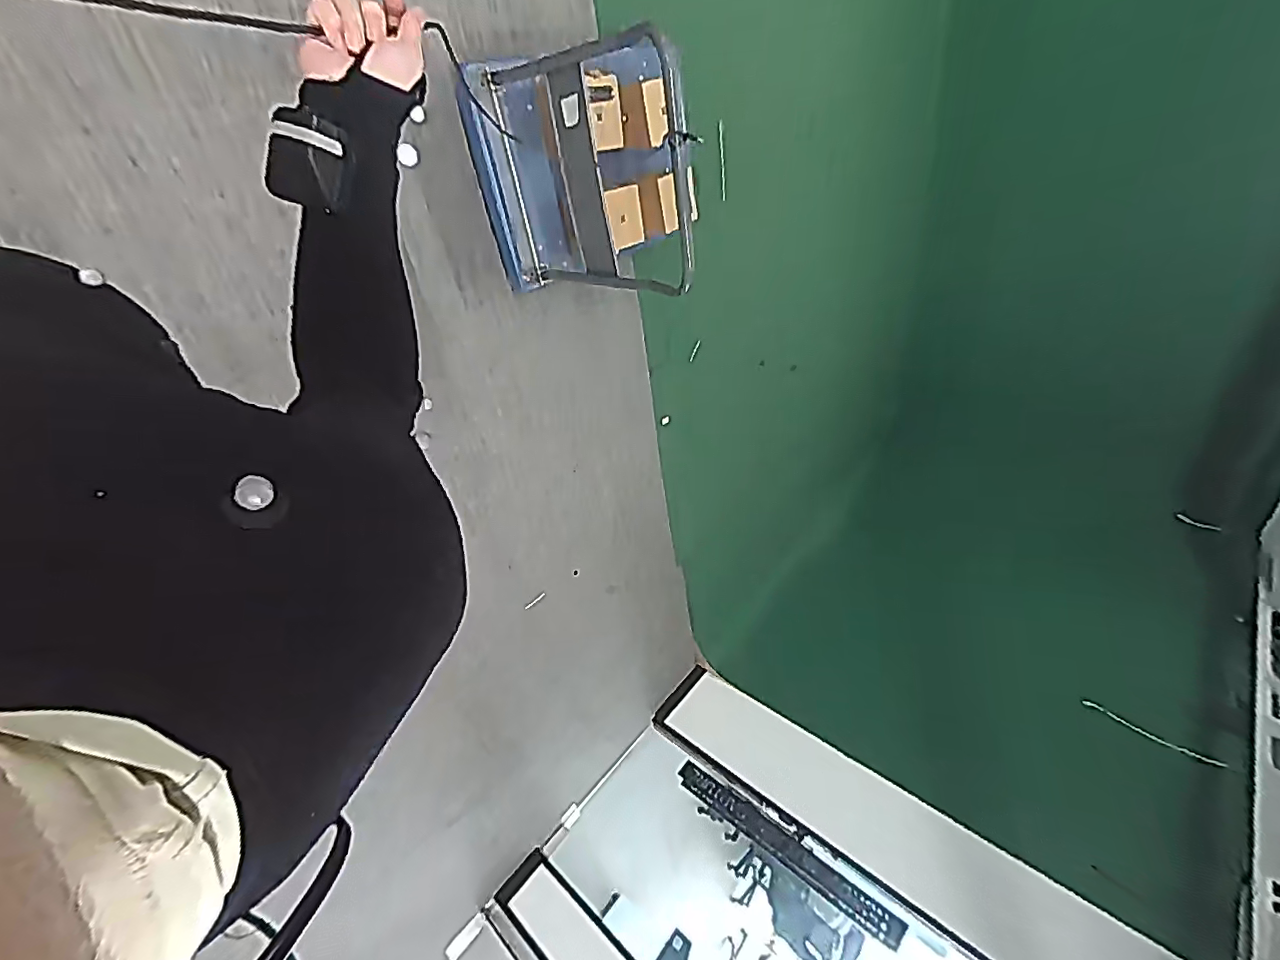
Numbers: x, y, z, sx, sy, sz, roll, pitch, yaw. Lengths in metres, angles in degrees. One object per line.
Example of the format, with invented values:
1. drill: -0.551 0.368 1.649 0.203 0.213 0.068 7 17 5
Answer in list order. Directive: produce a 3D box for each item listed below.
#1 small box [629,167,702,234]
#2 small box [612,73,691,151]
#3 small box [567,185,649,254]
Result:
1. small box: 0.084 -0.947 1.832 0.179 0.176 0.168 -39 131 -30
2. small box: 0.031 -1.144 1.686 0.179 0.176 0.168 -40 133 -31
3. small box: -0.099 -0.813 1.686 0.179 0.176 0.168 -35 130 -33
